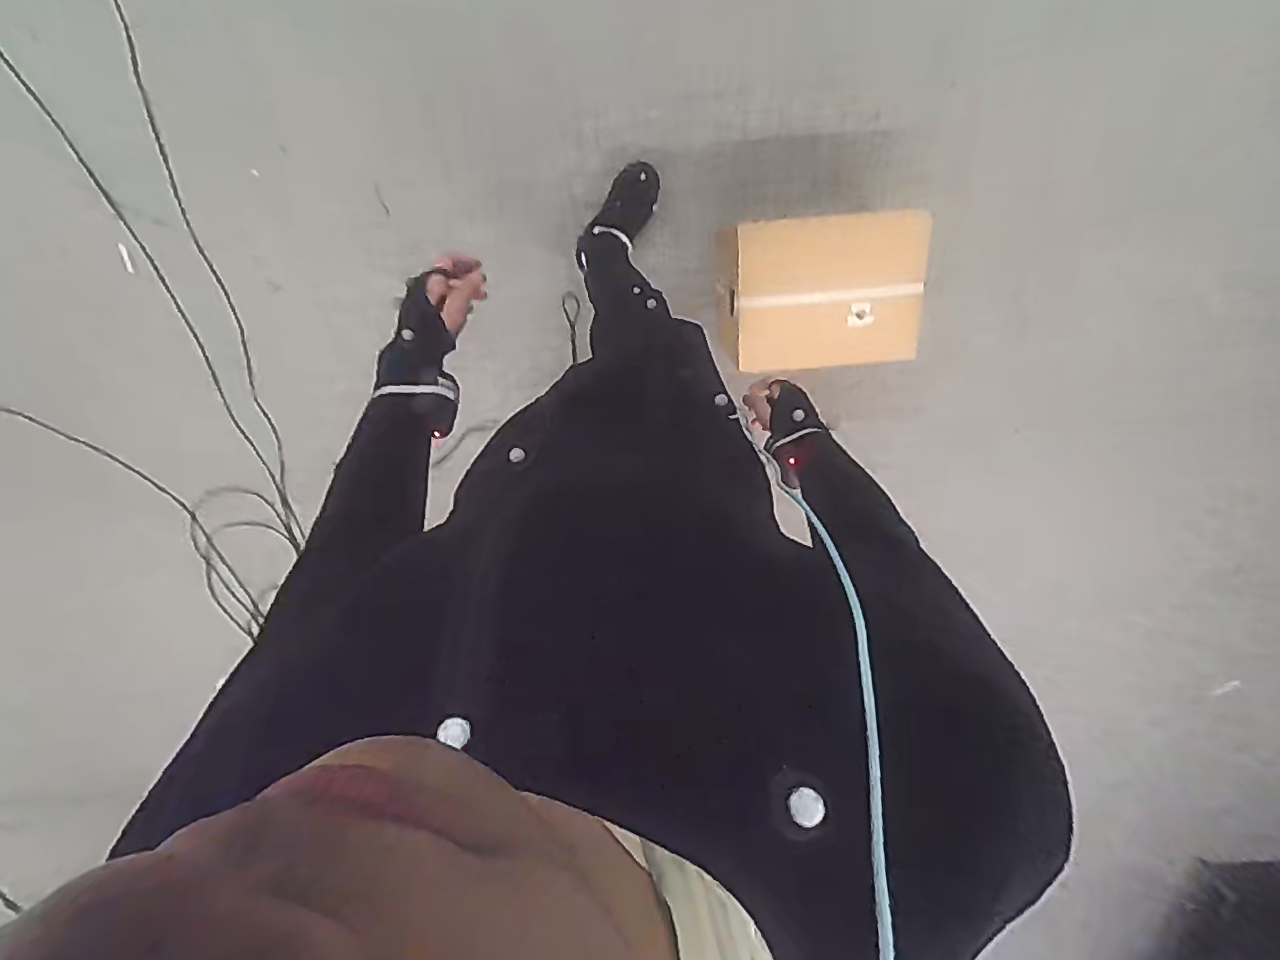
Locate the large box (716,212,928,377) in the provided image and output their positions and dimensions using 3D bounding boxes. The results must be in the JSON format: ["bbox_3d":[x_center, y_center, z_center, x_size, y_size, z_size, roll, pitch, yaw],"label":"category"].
[{"bbox_3d":[0.408,-0.447,1.311,0.408,0.320,0.320,-4,112,1],"label":"large box"}]
